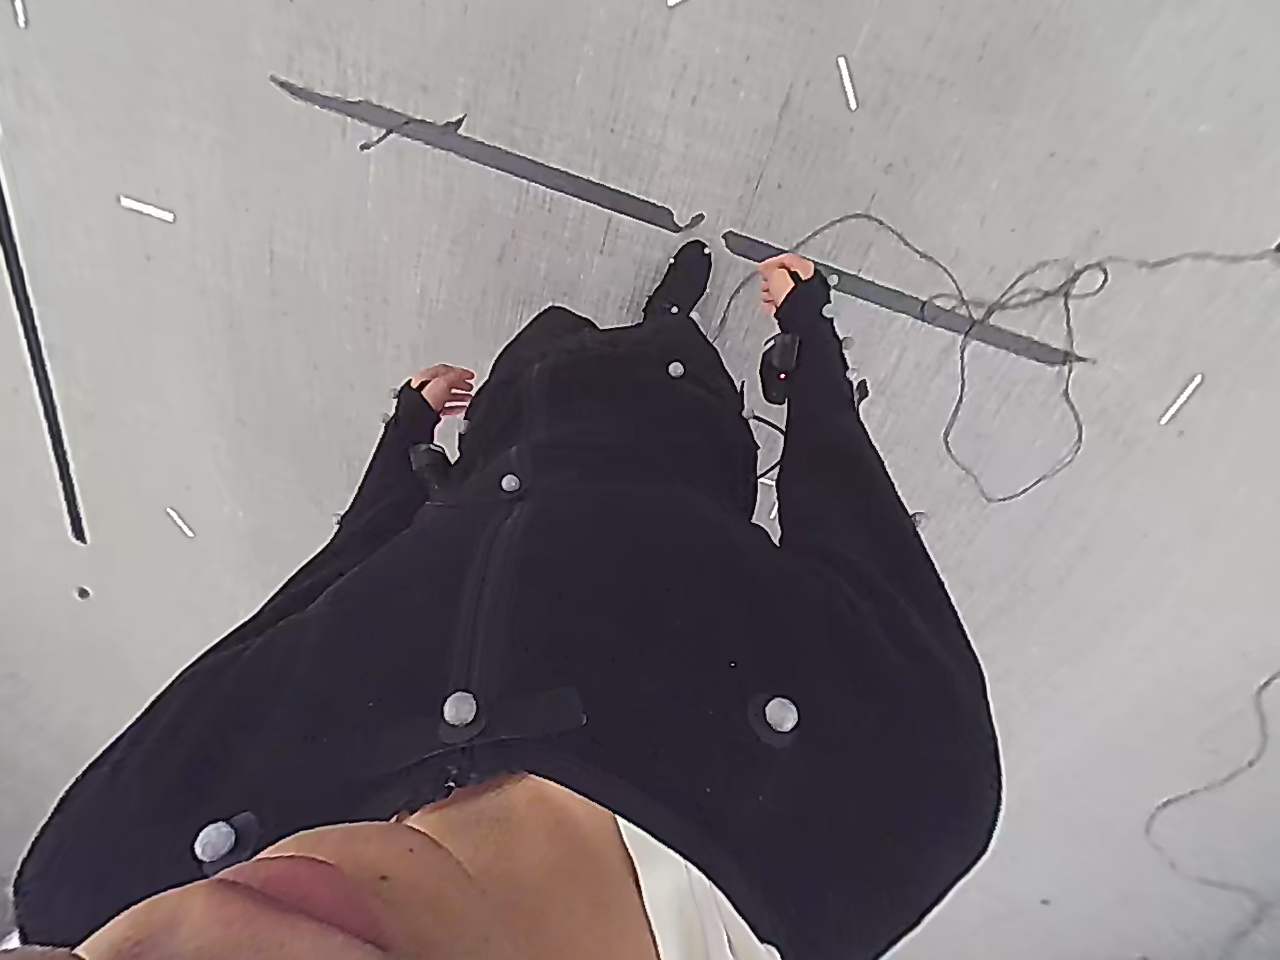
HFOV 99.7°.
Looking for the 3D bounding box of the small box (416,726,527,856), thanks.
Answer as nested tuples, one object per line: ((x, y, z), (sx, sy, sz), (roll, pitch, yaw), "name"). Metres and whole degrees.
((-0.367, 0.675, 1.189), (0.179, 0.176, 0.168), (15, 118, -1), "small box")
